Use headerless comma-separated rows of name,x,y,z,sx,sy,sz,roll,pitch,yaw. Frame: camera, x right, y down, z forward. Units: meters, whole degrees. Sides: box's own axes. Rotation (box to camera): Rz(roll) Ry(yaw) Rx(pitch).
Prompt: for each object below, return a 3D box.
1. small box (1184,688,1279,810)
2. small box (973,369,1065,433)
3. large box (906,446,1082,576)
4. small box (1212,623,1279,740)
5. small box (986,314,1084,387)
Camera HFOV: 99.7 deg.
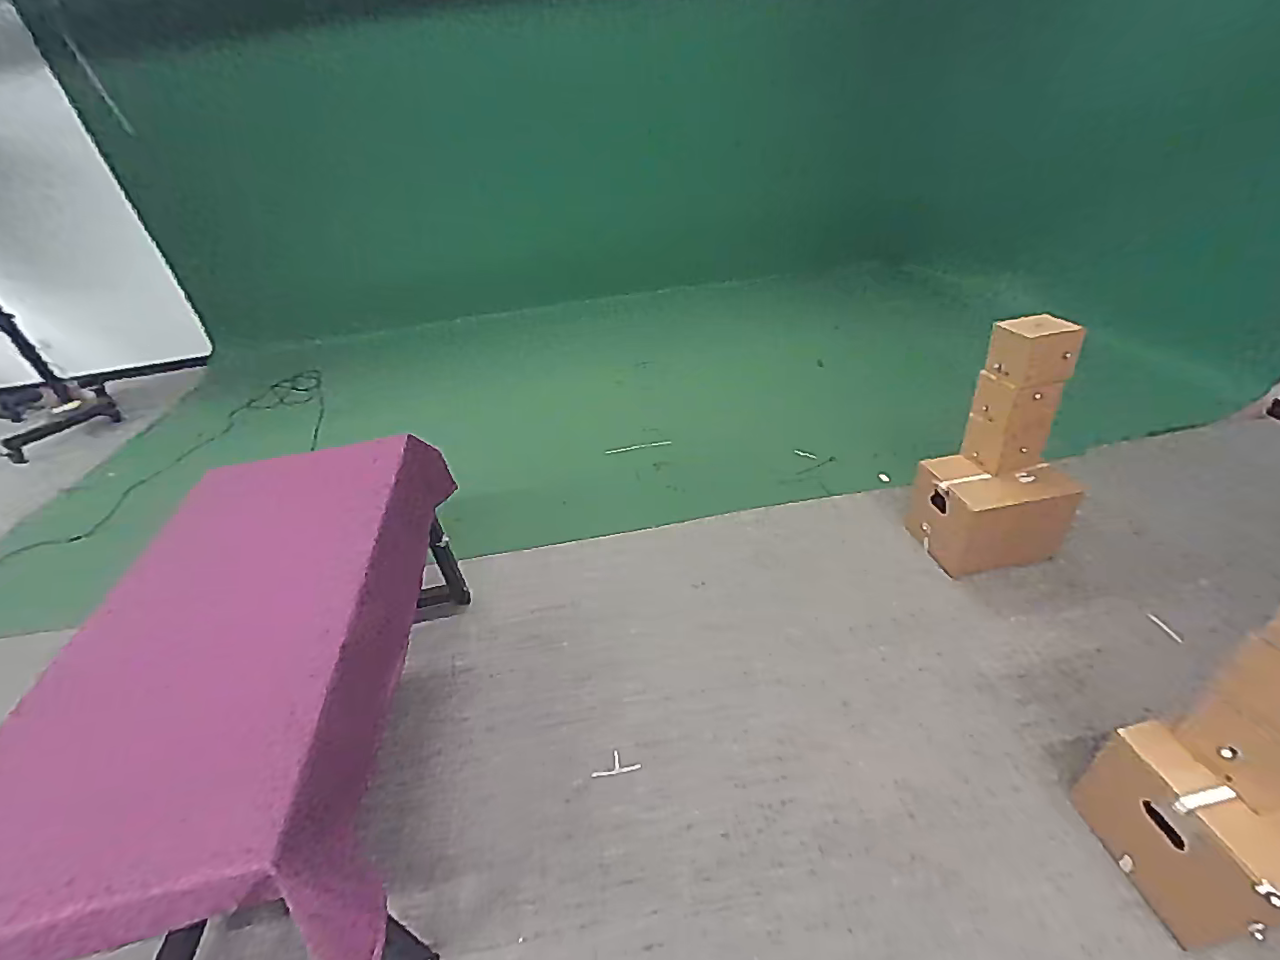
small box,1.214,0.497,1.036,0.179,0.176,0.168,-13,34,-6
small box,1.263,-0.277,1.817,0.179,0.176,0.168,-11,32,-3
large box,1.265,0.111,1.978,0.408,0.320,0.320,-10,35,-4
small box,1.191,0.361,0.944,0.168,0.176,0.179,-12,34,-7
small box,1.251,-0.412,1.726,0.179,0.176,0.168,-11,32,-2
